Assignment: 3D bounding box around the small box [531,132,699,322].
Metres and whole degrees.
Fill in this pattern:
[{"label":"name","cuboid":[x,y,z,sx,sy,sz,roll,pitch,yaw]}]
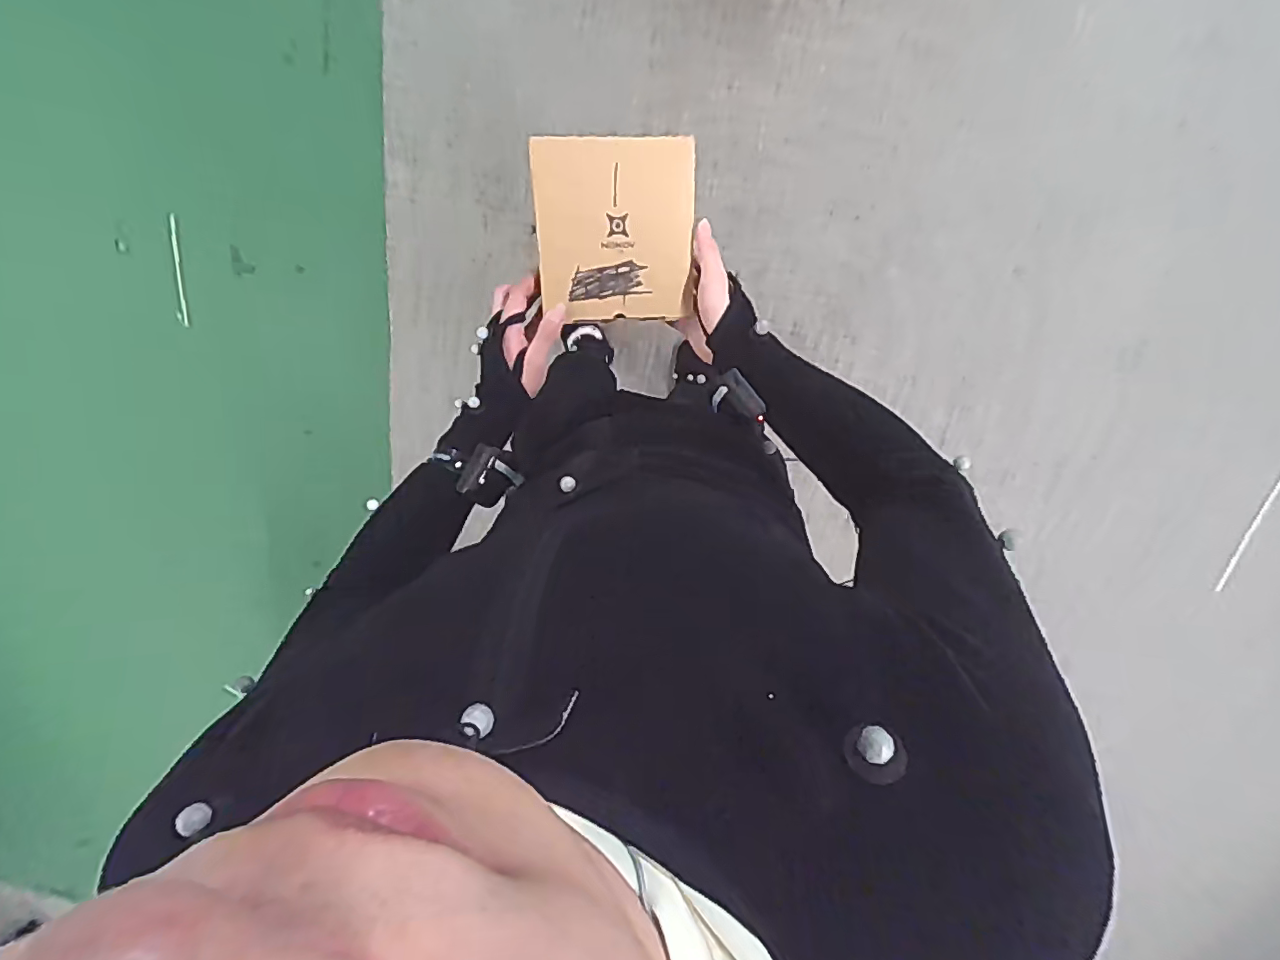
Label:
[{"label":"small box","cuboid":[-0.034,-0.284,0.626,0.168,0.176,0.179,-3,113,-8]}]
